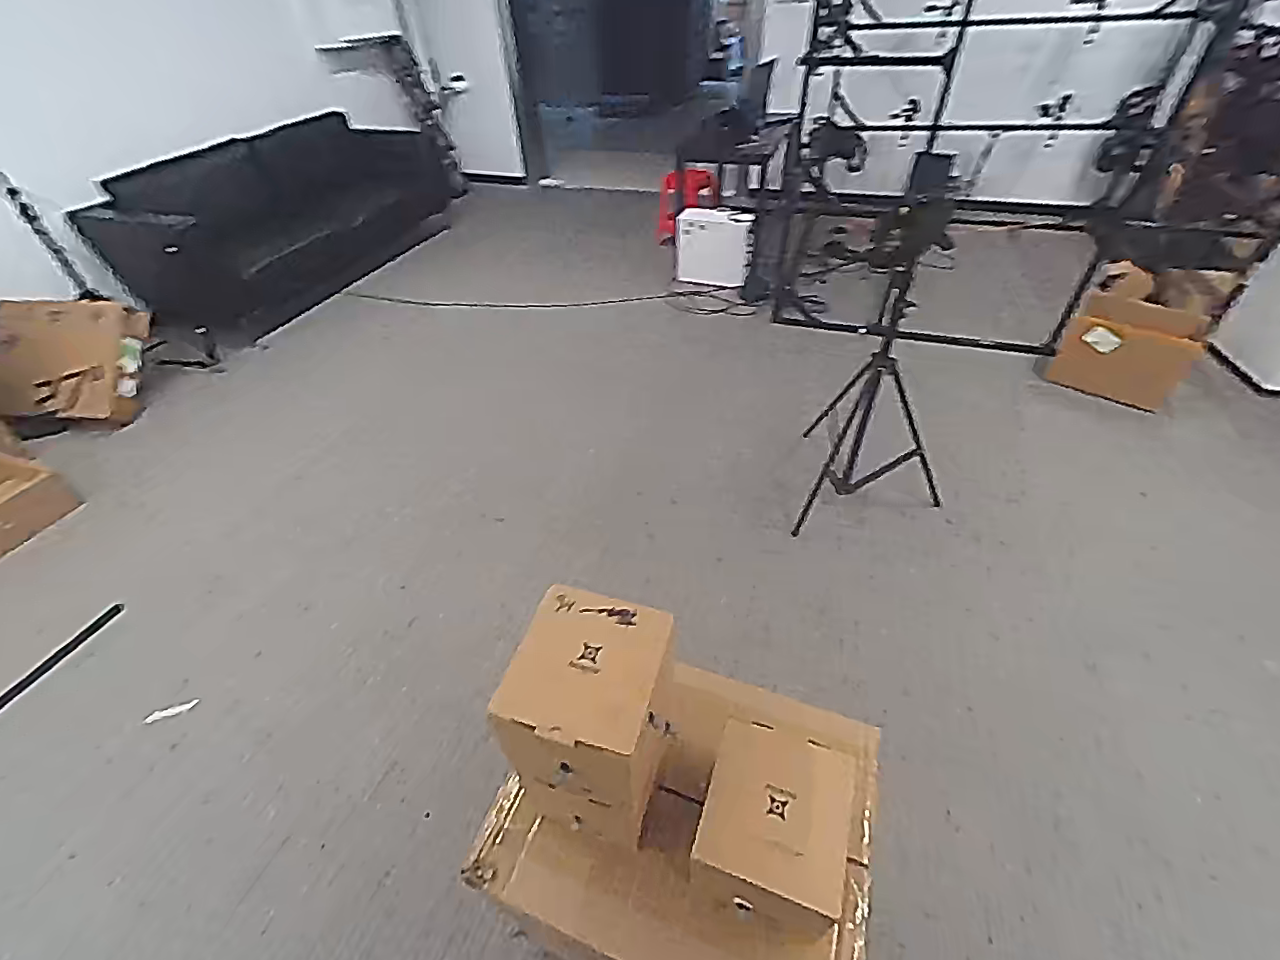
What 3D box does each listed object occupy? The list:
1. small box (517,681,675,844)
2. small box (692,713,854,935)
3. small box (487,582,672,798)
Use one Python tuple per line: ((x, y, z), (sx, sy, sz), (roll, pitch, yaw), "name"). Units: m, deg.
((-0.054, 0.382, 0.779), (0.168, 0.176, 0.179), (13, 45, 15), "small box")
((0.169, 0.444, 0.702), (0.168, 0.176, 0.179), (11, 46, 18), "small box")
((-0.059, 0.261, 0.670), (0.168, 0.176, 0.179), (11, 46, 13), "small box")
